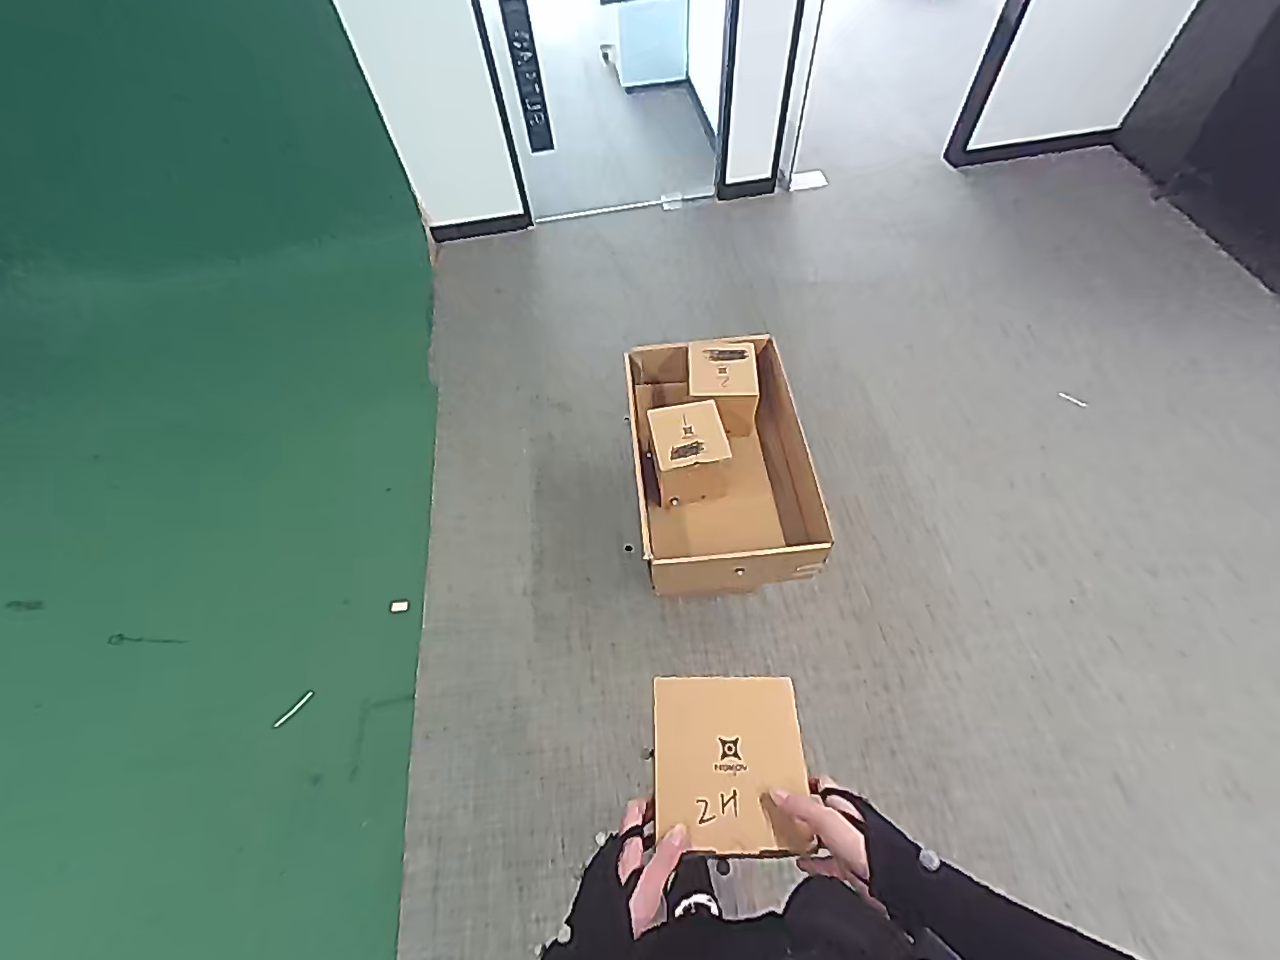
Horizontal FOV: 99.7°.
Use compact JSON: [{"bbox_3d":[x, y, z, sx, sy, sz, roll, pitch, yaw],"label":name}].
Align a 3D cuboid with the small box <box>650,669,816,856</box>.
[{"bbox_3d":[0.096,0.343,0.653,0.168,0.176,0.179,1,54,1],"label":"small box"}]
